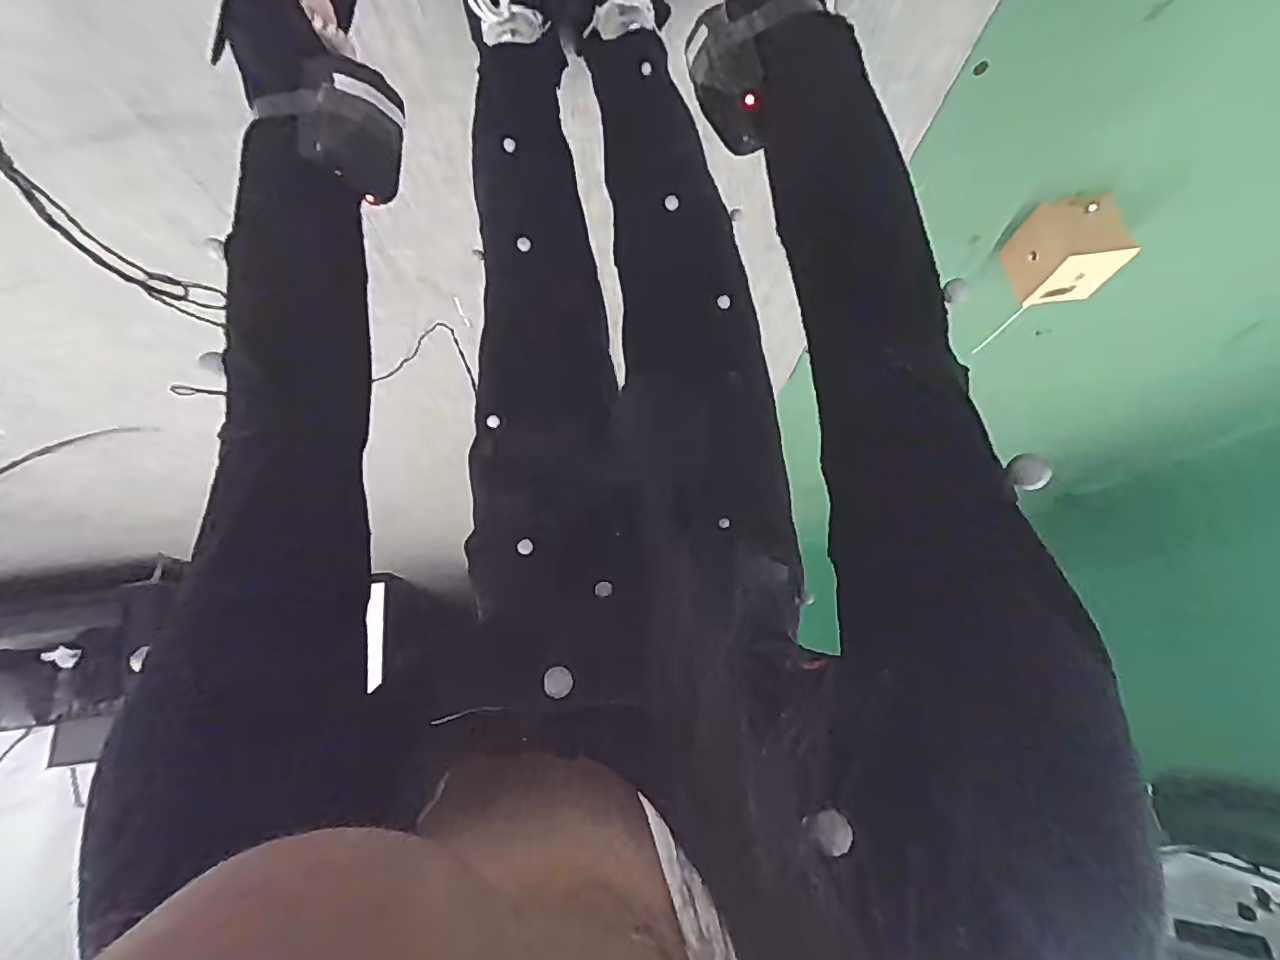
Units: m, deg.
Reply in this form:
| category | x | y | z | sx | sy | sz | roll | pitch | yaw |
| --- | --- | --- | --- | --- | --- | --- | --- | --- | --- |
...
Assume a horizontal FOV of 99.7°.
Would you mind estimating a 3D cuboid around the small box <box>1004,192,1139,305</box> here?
| category | x | y | z | sx | sy | sz | roll | pitch | yaw |
| --- | --- | --- | --- | --- | --- | --- | --- | --- | --- |
| small box | 1.004 | -0.544 | 1.280 | 0.168 | 0.176 | 0.179 | -7 | 161 | 0 |
